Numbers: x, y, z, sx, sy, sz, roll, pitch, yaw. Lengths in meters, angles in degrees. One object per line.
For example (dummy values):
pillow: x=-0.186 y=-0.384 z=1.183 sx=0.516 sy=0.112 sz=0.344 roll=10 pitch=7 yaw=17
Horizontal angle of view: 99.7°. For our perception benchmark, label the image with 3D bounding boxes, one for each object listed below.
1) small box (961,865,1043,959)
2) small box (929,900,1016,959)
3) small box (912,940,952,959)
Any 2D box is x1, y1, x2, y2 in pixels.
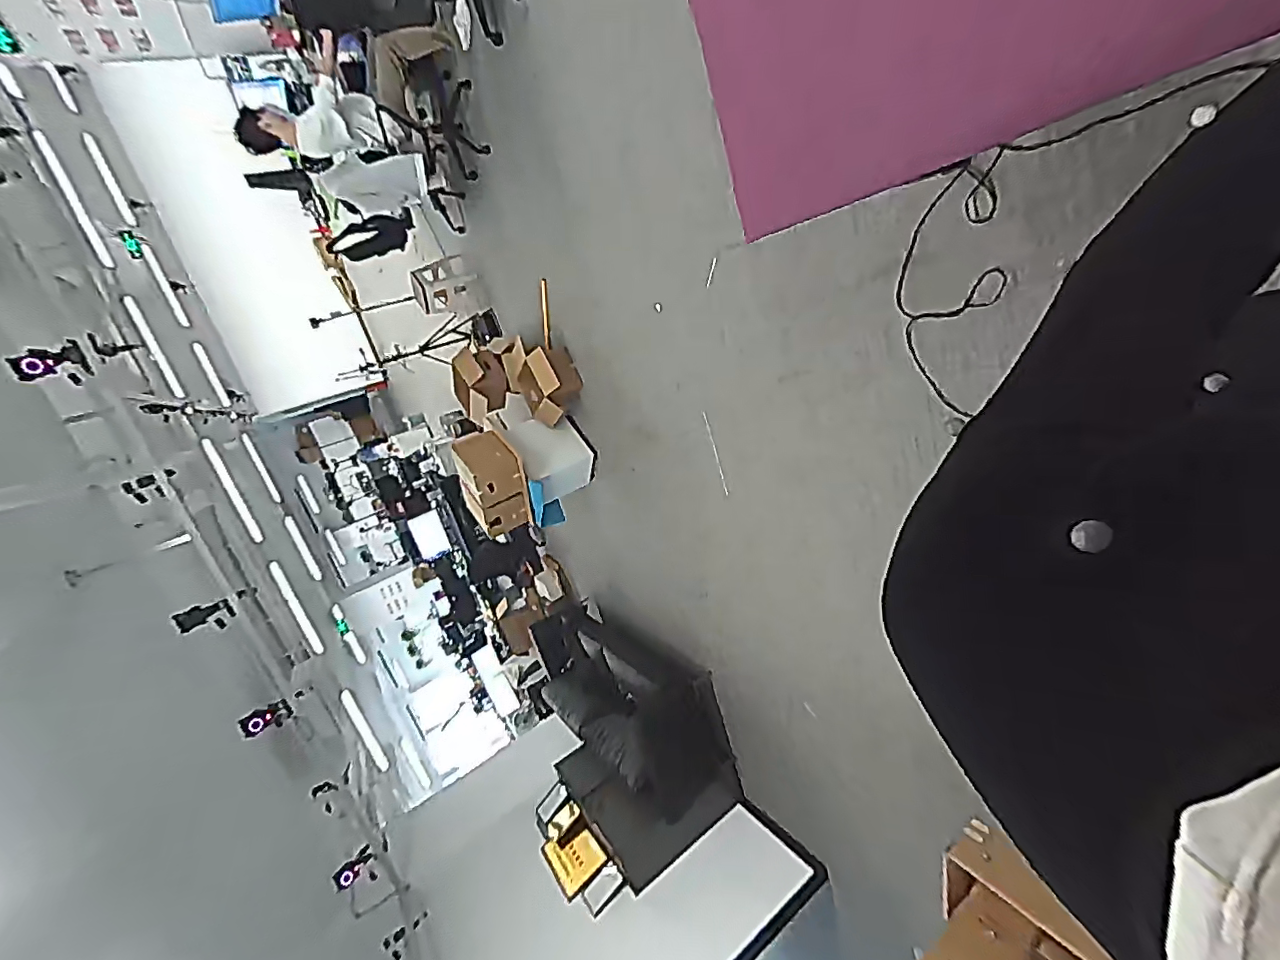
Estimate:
small box: x=1.115 y=1.356 z=1.675 sx=0.168 sy=0.176 sz=0.179 roll=24 pitch=133 yaw=53
small box: x=0.983 y=1.413 z=1.602 sx=0.168 sy=0.176 sz=0.179 roll=22 pitch=131 yaw=53
small box: x=0.849 y=1.476 z=1.530 sx=0.168 sy=0.176 sz=0.179 roll=22 pitch=131 yaw=53
